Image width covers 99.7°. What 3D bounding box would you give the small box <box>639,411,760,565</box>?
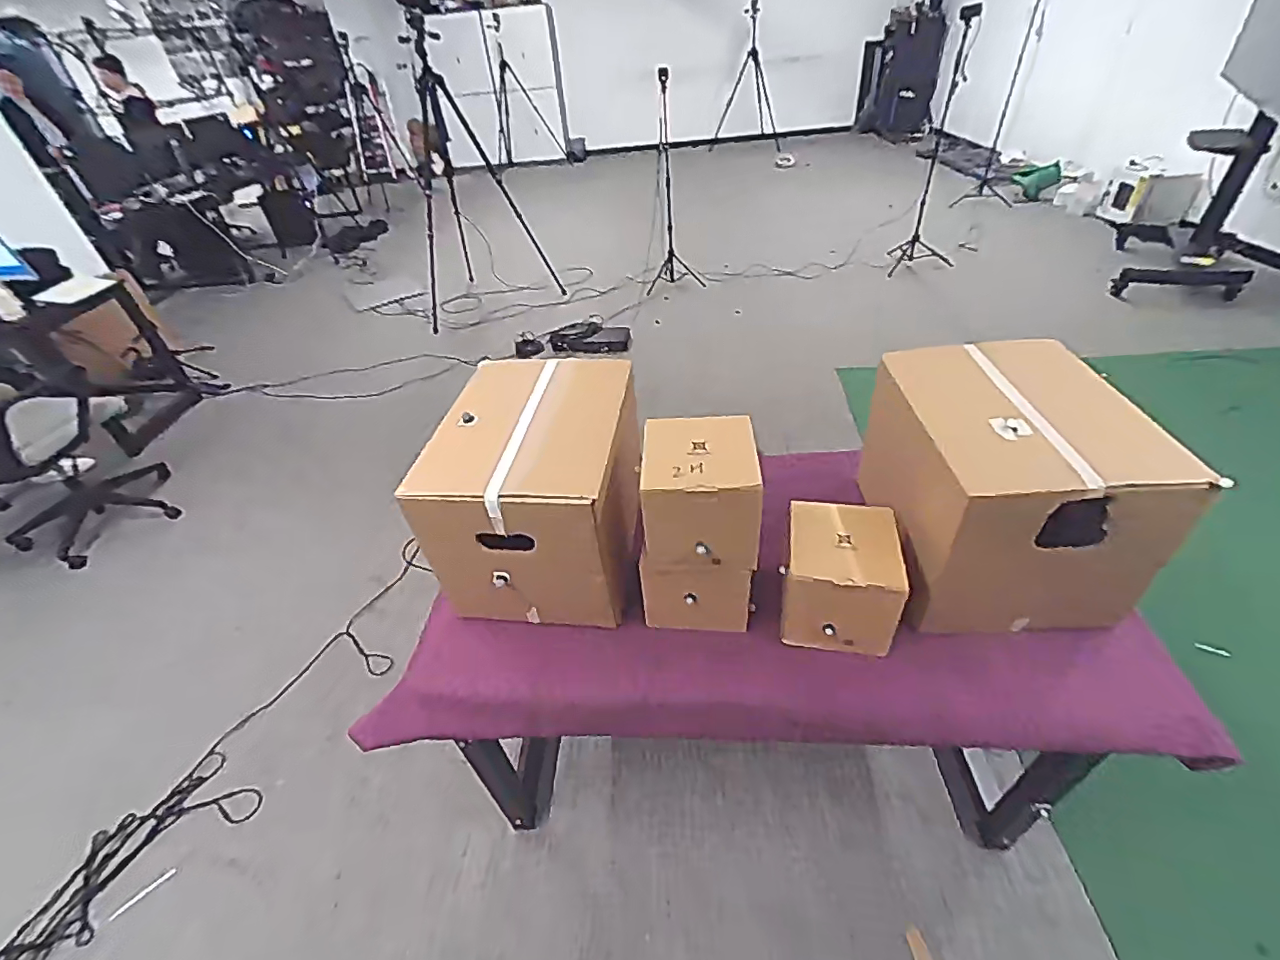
[{"bbox_3d":[0.090,0.011,0.840,0.168,0.176,0.179,-2,40,6],"label":"small box"}]

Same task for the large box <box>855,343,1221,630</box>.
[{"bbox_3d":[0.603,0.001,0.939,0.320,0.320,0.408,-4,41,6],"label":"large box"}]
